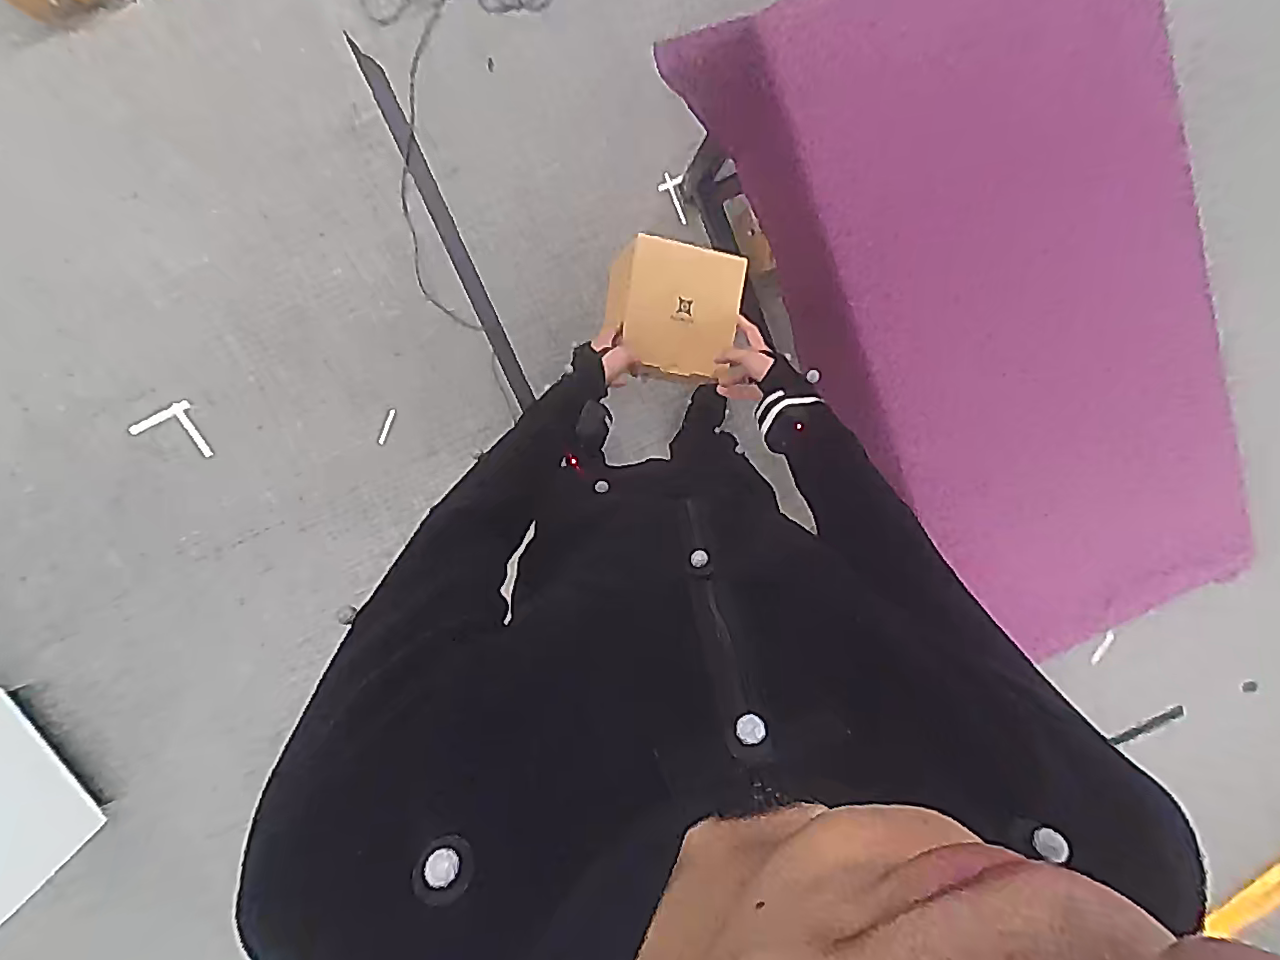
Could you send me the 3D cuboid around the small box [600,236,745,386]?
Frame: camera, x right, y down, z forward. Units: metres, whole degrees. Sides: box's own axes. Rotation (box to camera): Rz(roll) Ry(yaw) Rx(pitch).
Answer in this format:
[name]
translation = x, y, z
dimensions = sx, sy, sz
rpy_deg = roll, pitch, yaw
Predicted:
[small box]
translation = 0.040, -0.245, 0.831
dimensions = 0.168, 0.176, 0.179
rpy_deg = 7, 97, -16
